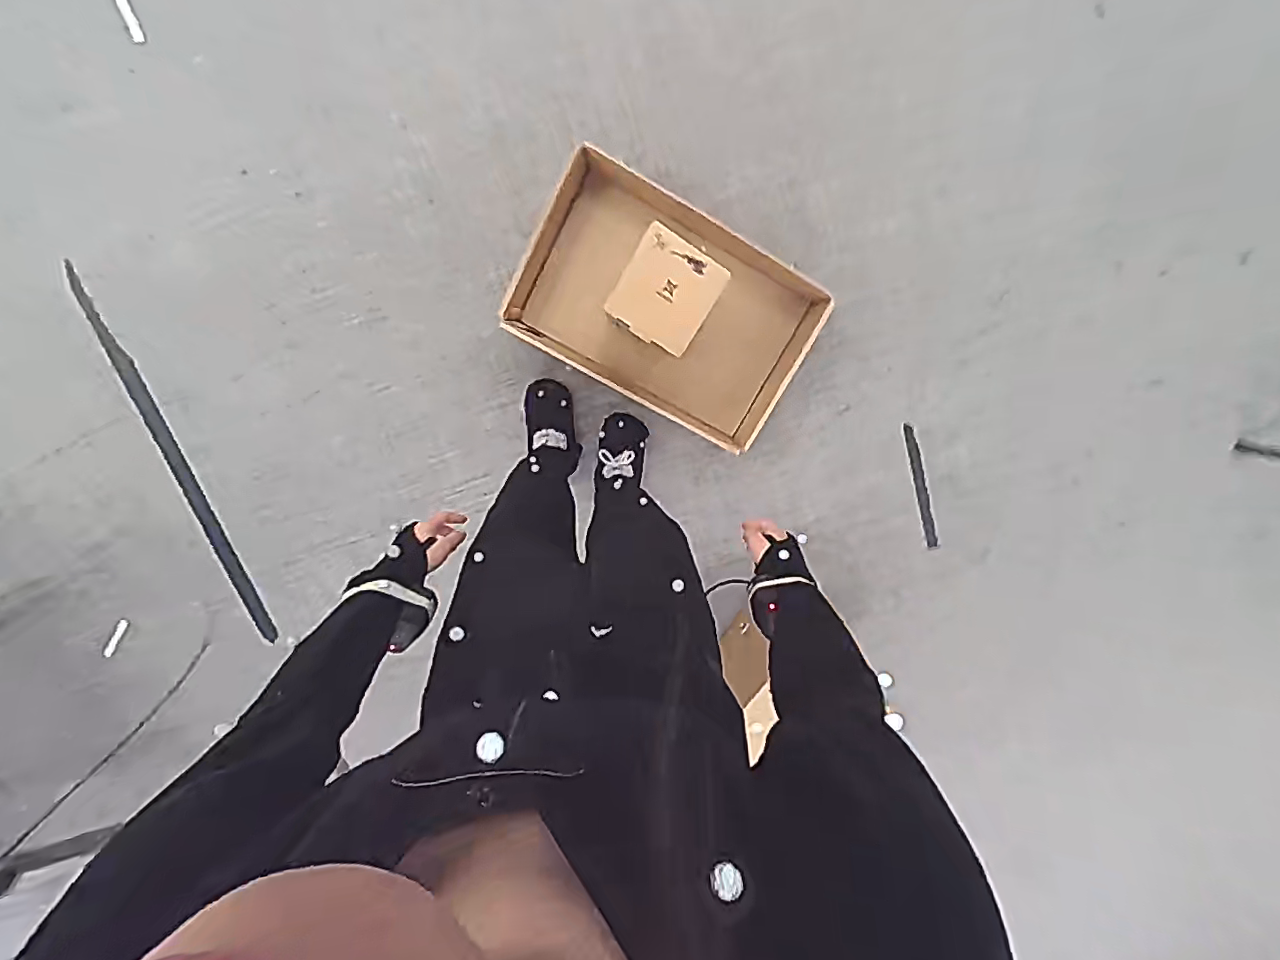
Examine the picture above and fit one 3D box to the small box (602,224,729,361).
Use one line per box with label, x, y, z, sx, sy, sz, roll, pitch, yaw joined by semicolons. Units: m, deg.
small box;0.044;-0.348;1.029;0.168;0.176;0.179;32;102;-10
